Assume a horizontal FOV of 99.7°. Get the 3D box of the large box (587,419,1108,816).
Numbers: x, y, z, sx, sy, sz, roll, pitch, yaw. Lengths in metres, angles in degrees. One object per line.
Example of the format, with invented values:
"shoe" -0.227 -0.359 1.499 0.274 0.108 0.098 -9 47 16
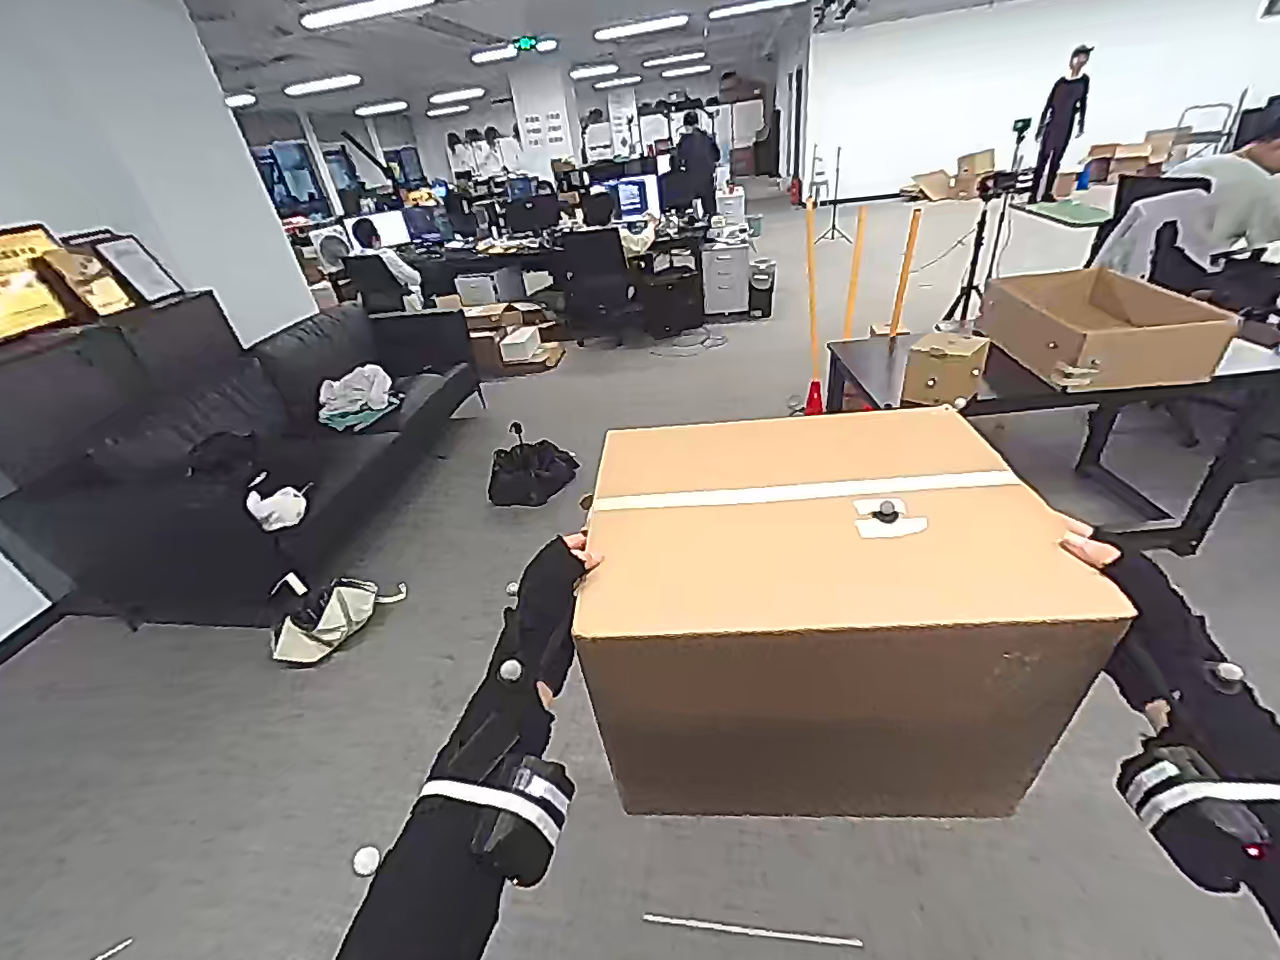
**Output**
"large box" 0.170 0.149 0.619 0.408 0.320 0.320 -4 35 5
